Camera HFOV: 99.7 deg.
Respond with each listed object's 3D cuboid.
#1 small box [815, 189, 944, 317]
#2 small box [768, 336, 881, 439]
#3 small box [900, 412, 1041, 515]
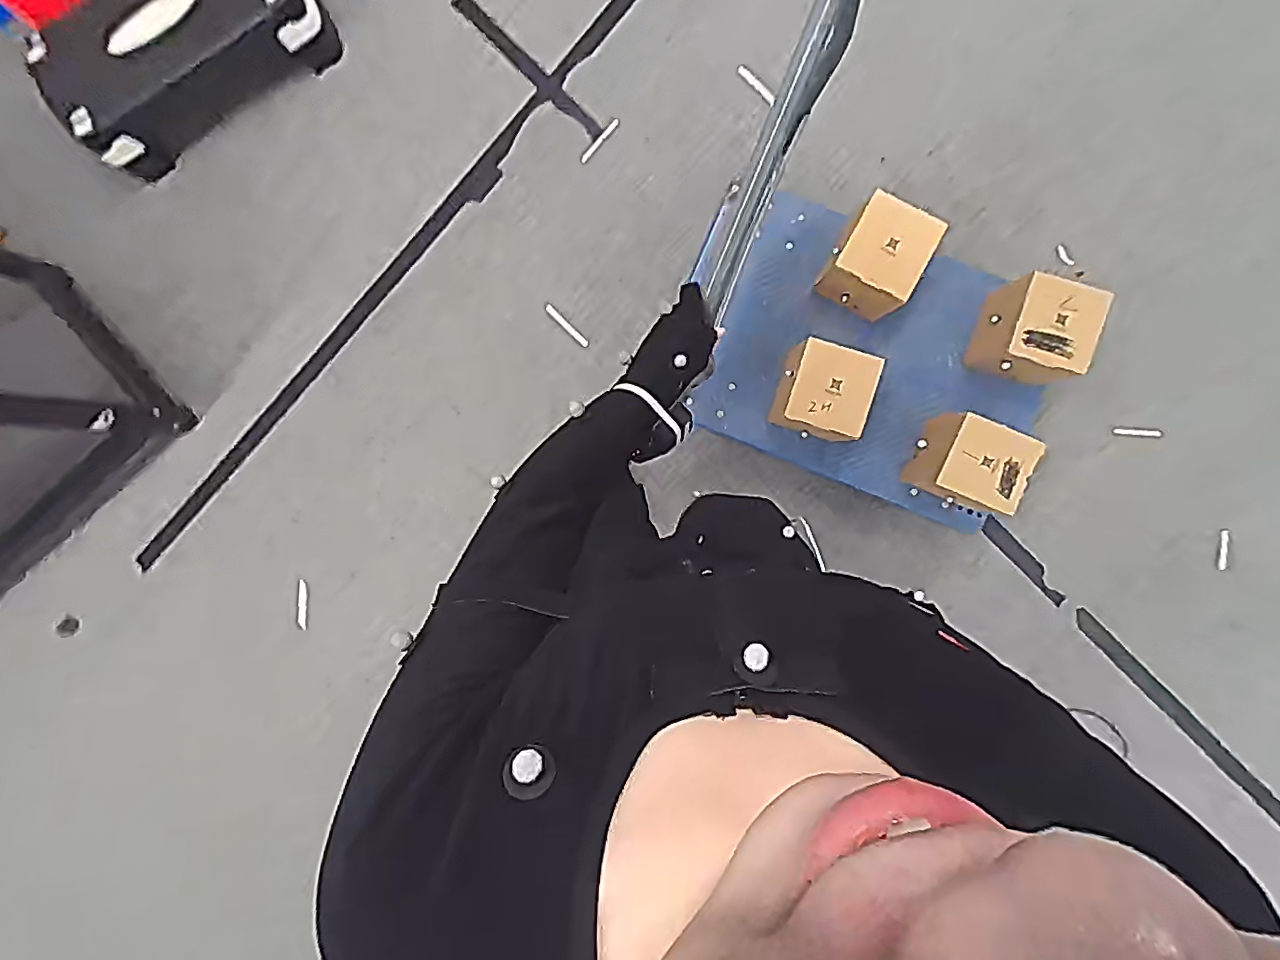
[{"bbox_3d":[0.509,-0.484,1.181,0.168,0.176,0.179,27,95,-1],"label":"small box"},{"bbox_3d":[0.398,-0.197,1.199,0.168,0.176,0.179,17,93,1],"label":"small box"},{"bbox_3d":[0.721,-0.040,1.200,0.179,0.176,0.168,23,94,1],"label":"small box"}]
